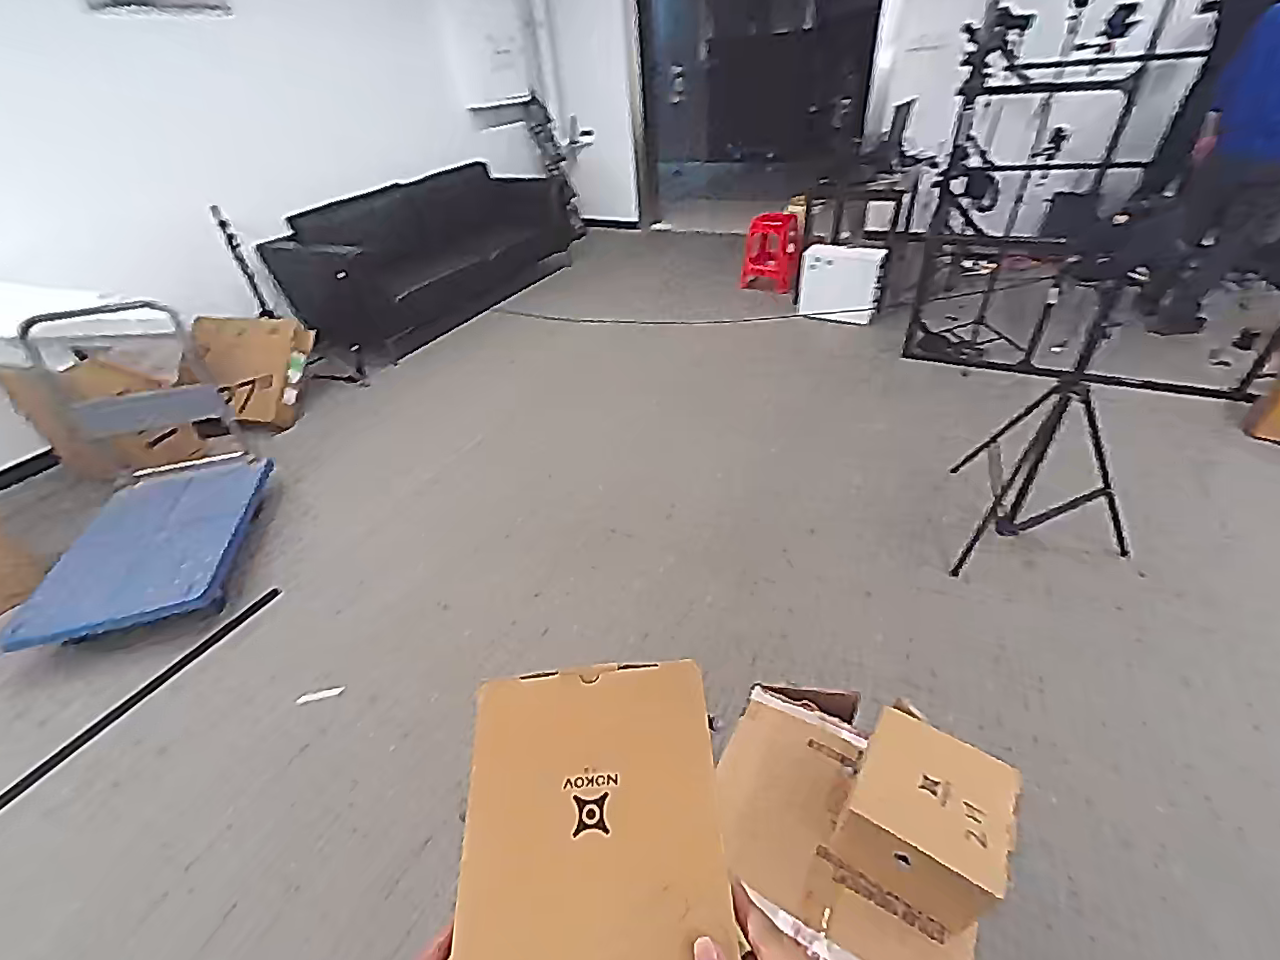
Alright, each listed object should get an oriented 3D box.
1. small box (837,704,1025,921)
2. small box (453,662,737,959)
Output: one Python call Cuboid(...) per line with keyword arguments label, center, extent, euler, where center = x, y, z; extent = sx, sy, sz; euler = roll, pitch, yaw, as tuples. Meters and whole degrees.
Cuboid(label="small box", center=(0.390, 0.456, 0.744), extent=(0.179, 0.176, 0.168), euler=(21, 47, 28))
Cuboid(label="small box", center=(-0.025, 0.258, 0.412), extent=(0.168, 0.176, 0.179), euler=(-6, 53, 0))
